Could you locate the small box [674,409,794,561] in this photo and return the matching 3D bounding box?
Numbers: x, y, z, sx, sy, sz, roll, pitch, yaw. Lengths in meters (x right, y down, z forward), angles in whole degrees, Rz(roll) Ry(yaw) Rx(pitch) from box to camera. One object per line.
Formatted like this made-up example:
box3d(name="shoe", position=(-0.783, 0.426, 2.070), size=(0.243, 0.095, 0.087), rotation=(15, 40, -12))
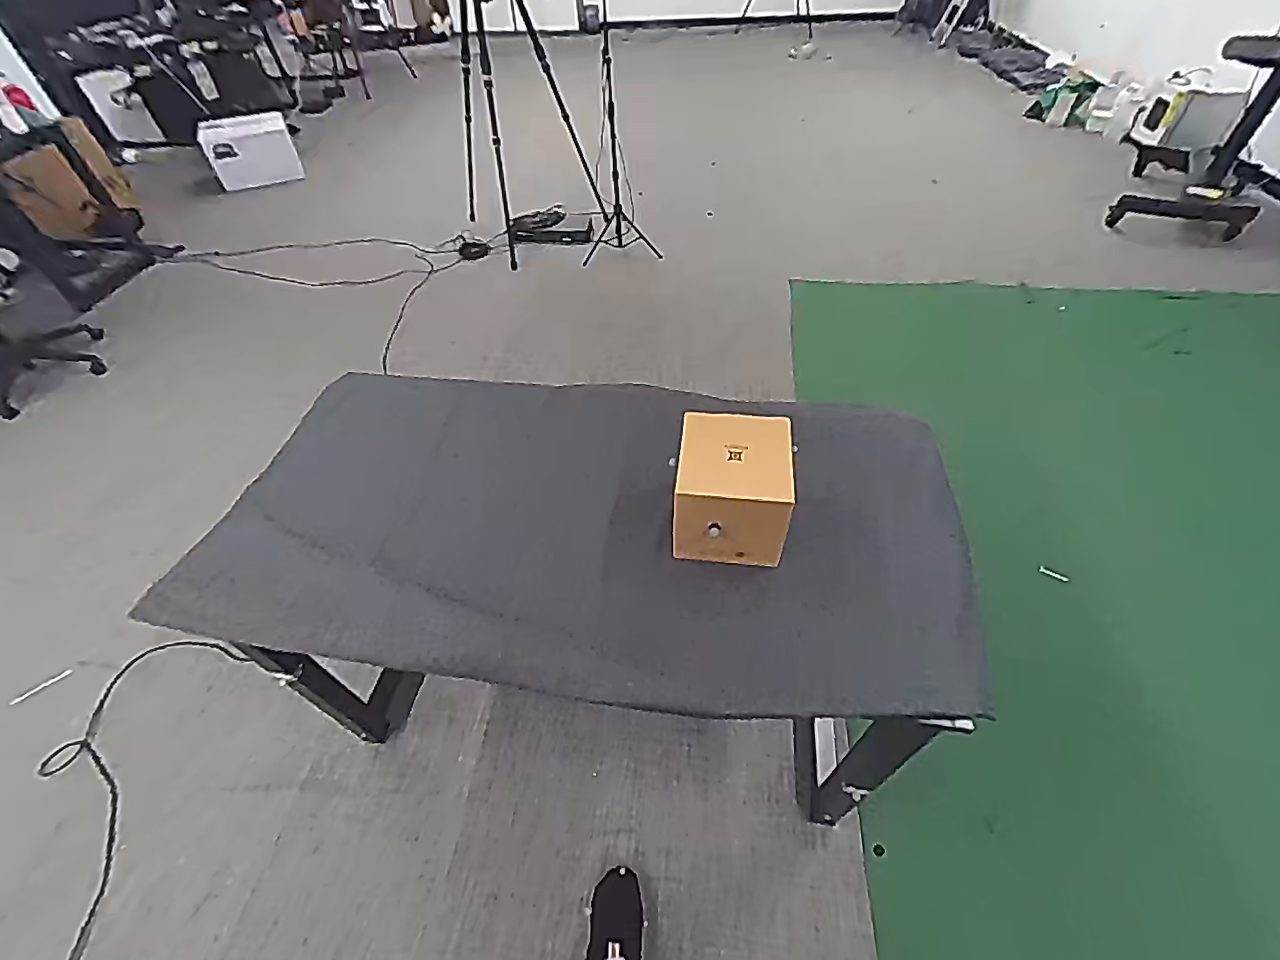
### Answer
box3d(name="small box", position=(0.145, 0.010, 0.852), size=(0.168, 0.176, 0.179), rotation=(4, 48, 7))
